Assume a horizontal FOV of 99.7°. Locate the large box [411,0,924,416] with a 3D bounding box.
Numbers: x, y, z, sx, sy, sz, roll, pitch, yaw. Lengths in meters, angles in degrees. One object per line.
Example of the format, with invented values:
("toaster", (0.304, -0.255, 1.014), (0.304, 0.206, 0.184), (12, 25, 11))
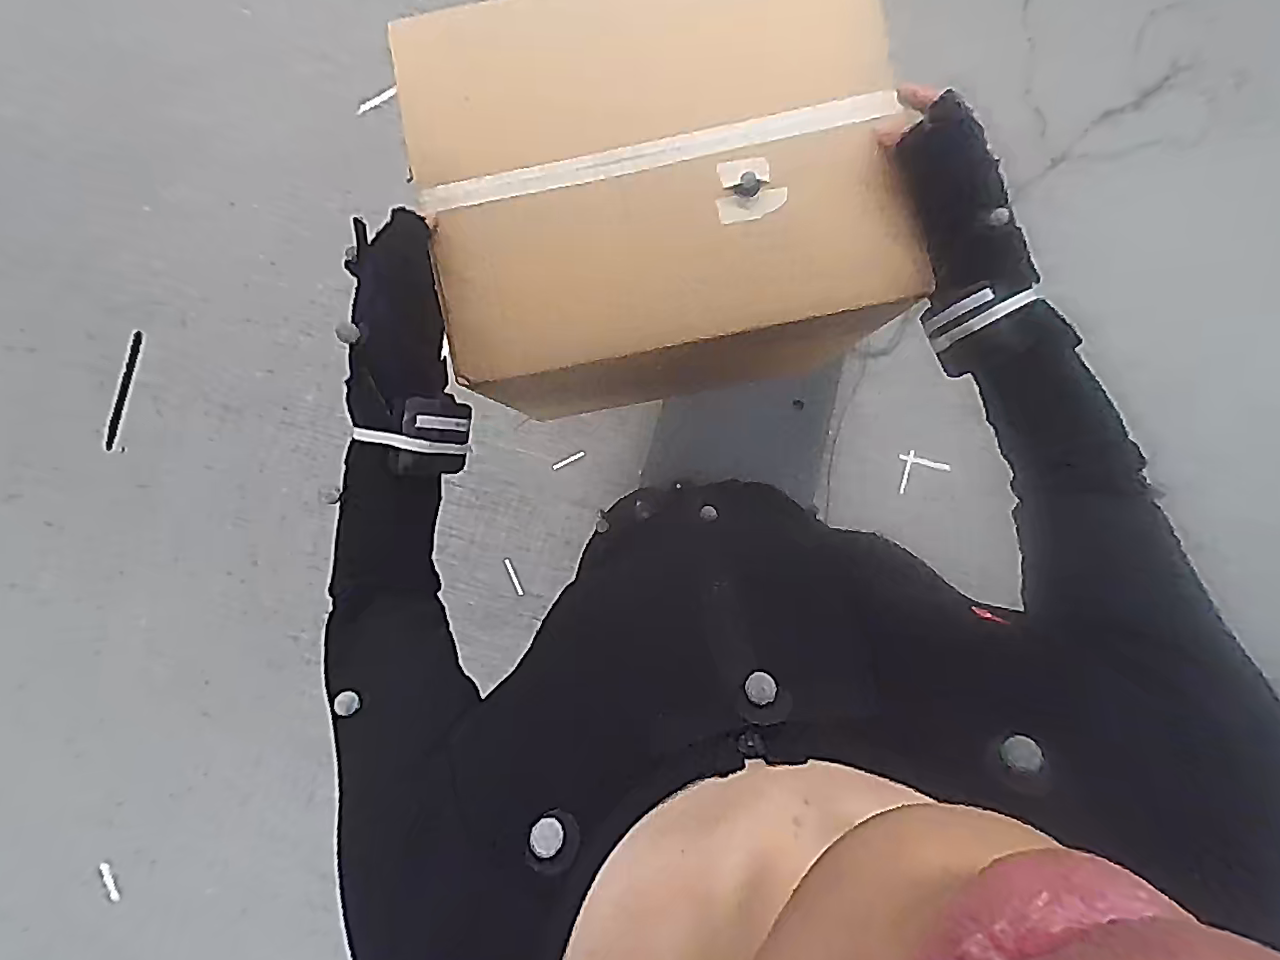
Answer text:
("large box", (0.022, -0.277, 0.613), (0.408, 0.320, 0.320), (-10, 90, 1))
